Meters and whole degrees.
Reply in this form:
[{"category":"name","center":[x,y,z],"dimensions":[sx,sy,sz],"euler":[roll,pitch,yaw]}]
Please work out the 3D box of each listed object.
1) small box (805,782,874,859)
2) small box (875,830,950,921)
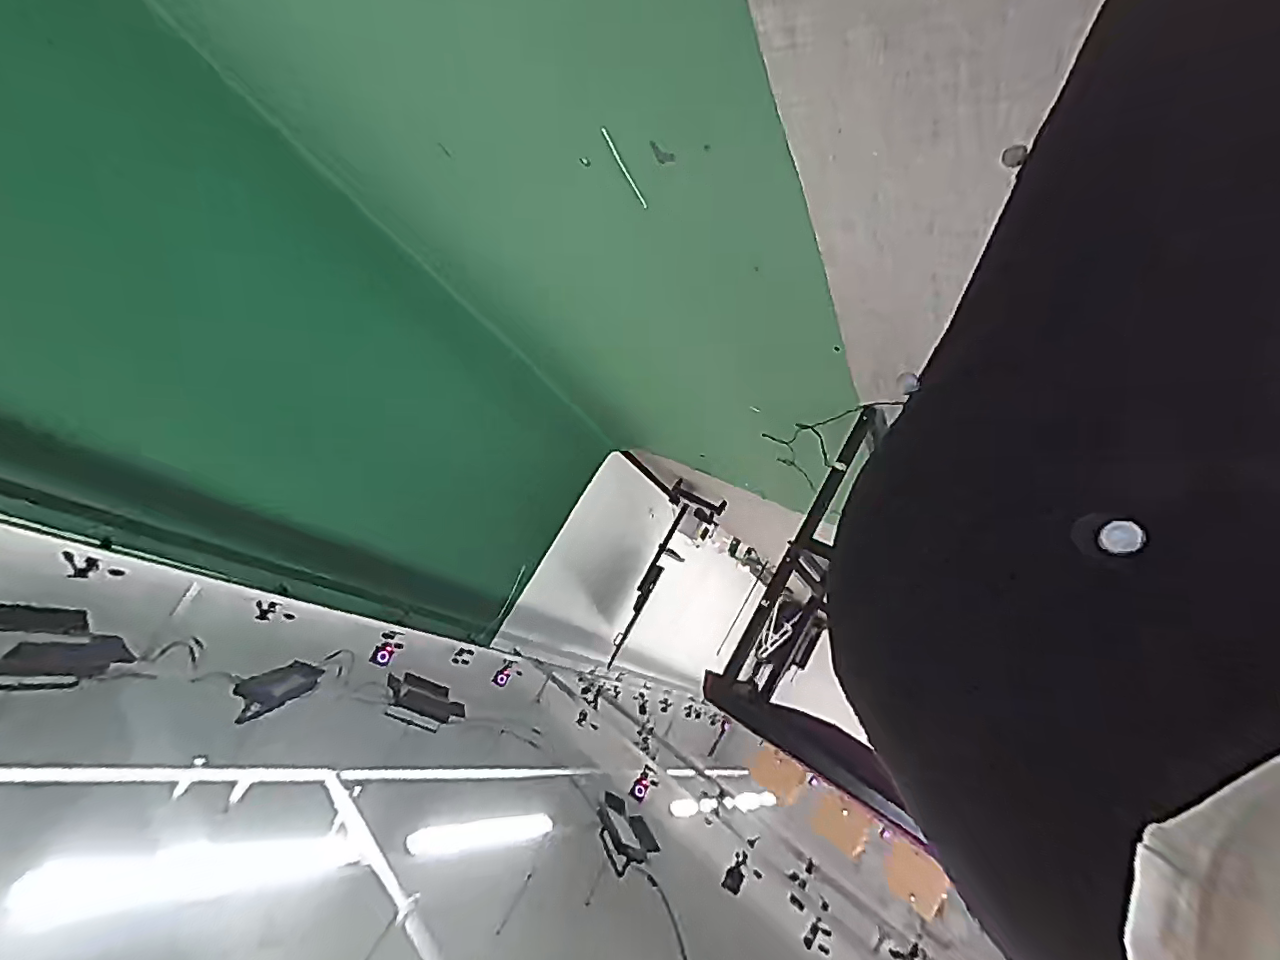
[{"category":"small box","center":[0.721,1.211,1.938],"dimensions":[0.168,0.176,0.179],"euler":[23,168,37]},{"category":"small box","center":[0.904,1.290,1.781],"dimensions":[0.168,0.176,0.179],"euler":[23,170,38]}]
